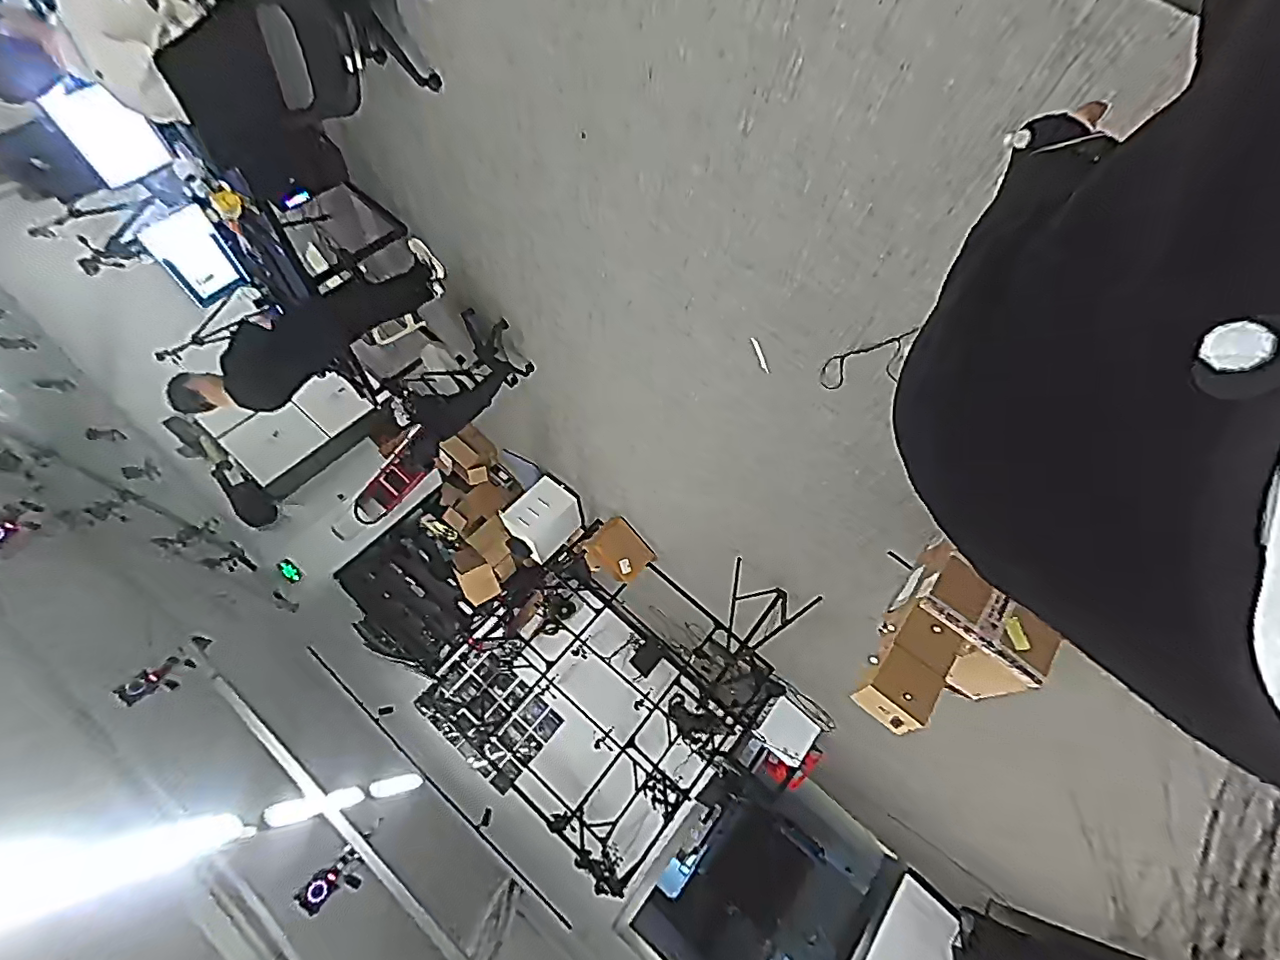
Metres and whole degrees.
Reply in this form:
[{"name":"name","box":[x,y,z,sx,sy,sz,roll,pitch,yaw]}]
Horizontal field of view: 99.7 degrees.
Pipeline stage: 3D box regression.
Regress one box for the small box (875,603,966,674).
[{"name":"small box","box":[0.906,0.522,1.748,0.179,0.176,0.168,37,152,19]}]

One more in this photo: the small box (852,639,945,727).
[{"name":"small box","box":[0.801,0.625,1.671,0.179,0.176,0.168,37,152,18]}]
